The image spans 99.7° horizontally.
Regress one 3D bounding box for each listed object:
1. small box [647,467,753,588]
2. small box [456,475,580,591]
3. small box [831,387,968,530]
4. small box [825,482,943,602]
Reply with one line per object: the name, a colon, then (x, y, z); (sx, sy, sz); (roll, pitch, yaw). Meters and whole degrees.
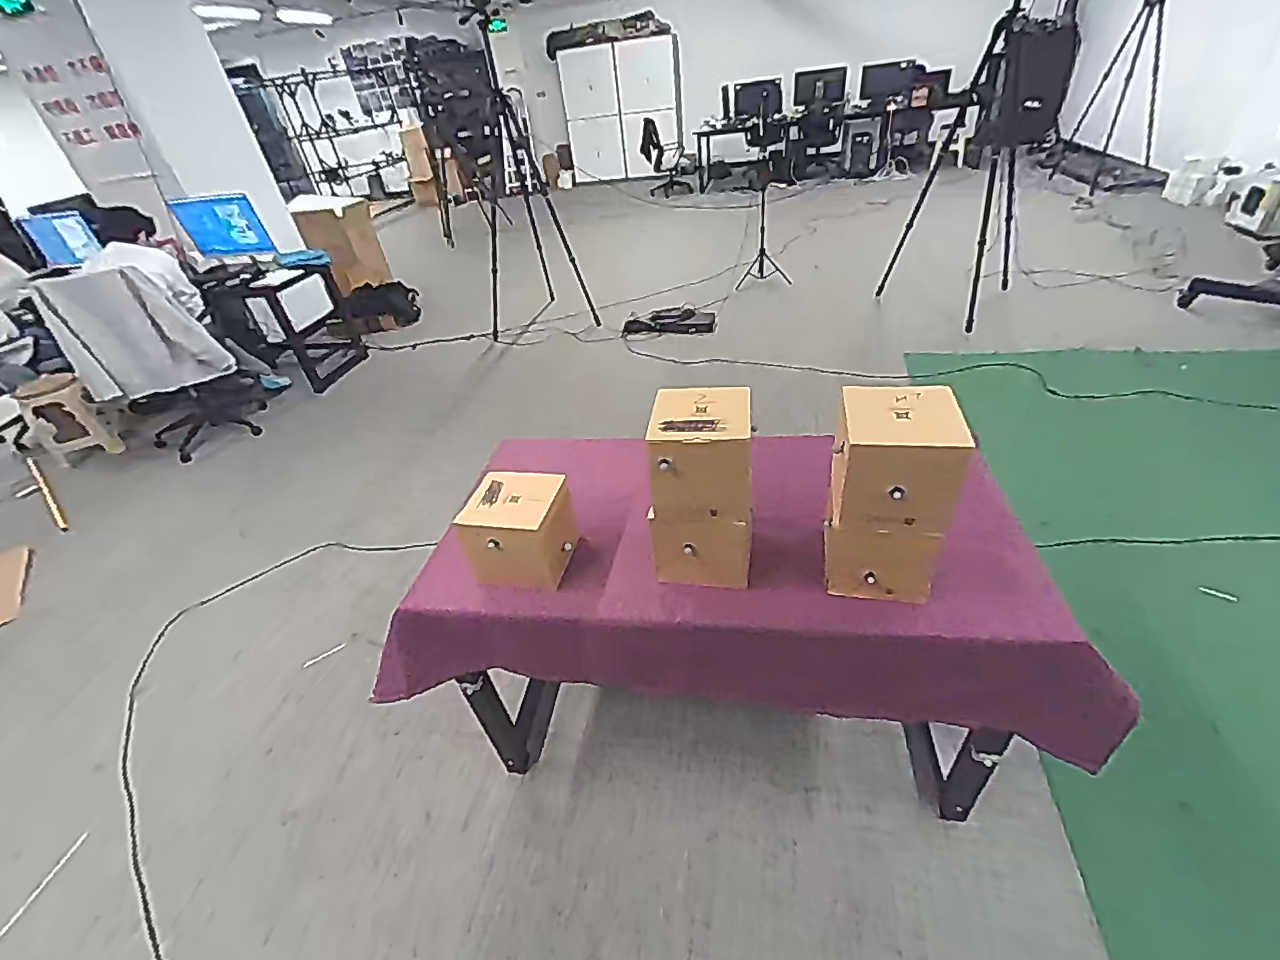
small box: (0.124, 0.091, 1.047); (0.179, 0.176, 0.168); (2, 38, 15)
small box: (-0.238, 0.107, 1.100); (0.179, 0.176, 0.168); (3, 38, 14)
small box: (0.409, -0.036, 0.883); (0.168, 0.176, 0.179); (2, 38, 14)
small box: (0.429, 0.094, 0.982); (0.168, 0.176, 0.179); (3, 39, 16)
